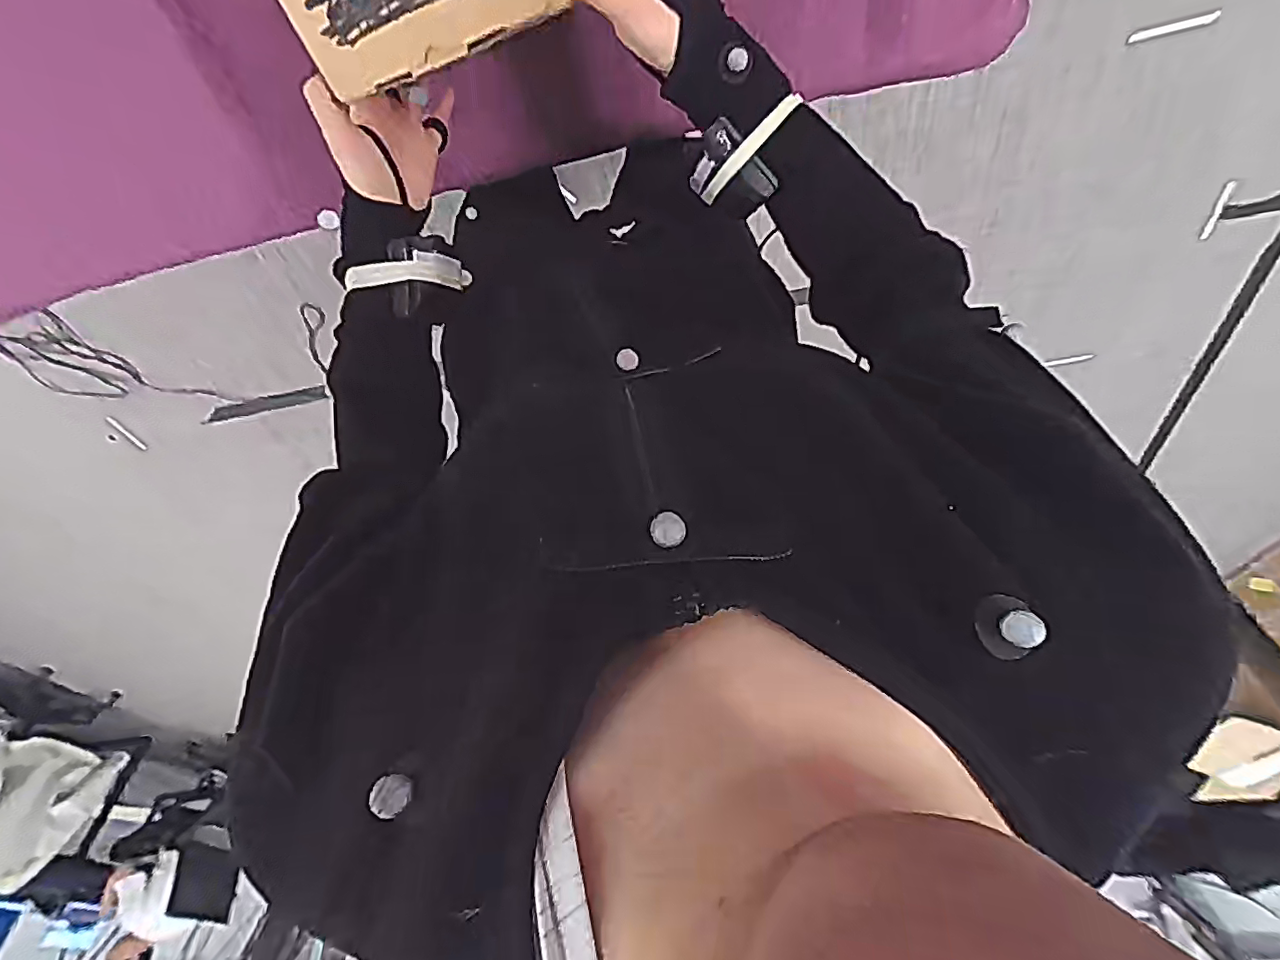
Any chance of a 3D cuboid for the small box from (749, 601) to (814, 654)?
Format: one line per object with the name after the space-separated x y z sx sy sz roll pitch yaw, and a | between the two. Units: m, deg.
0.567 0.610 2.187 0.179 0.176 0.168 25 129 -25 | small box
